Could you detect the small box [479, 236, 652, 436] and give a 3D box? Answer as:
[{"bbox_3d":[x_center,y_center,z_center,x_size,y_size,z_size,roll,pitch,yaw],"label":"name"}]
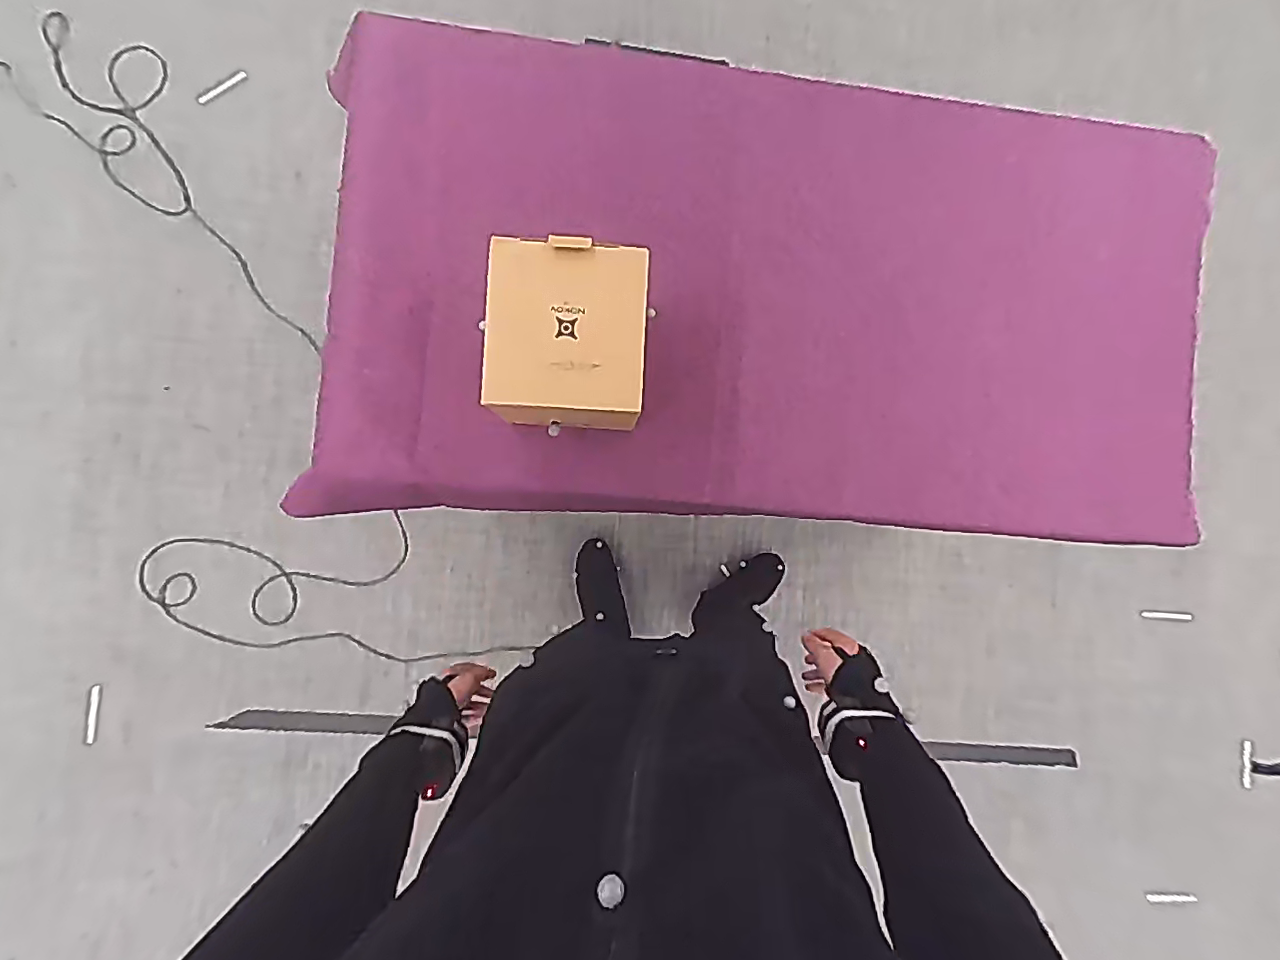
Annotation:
[{"bbox_3d":[-0.081,-0.153,0.629,0.168,0.176,0.179,4,88,-4],"label":"small box"}]
